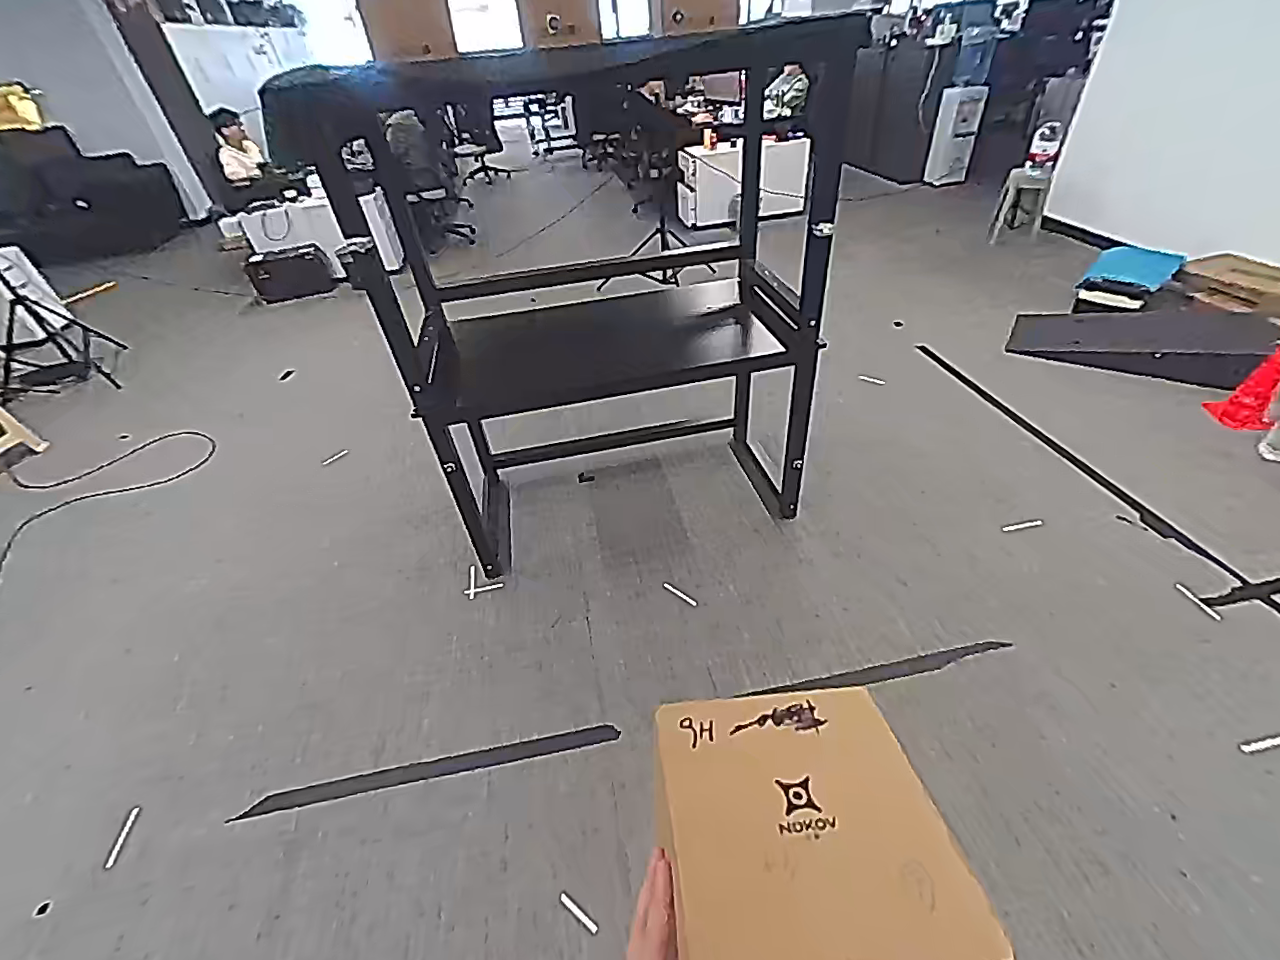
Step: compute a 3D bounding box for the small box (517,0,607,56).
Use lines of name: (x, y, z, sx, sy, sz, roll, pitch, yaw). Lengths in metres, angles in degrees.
small box: (-0.163, -0.972, 1.094, 0.168, 0.176, 0.179, -9, 39, -3)

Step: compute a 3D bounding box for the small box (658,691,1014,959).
small box: (0.104, 0.278, 0.373, 0.168, 0.176, 0.179, -3, 30, -4)

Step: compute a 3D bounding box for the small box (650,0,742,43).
small box: (0.113, -1.029, 1.126, 0.168, 0.176, 0.179, -9, 39, -4)
